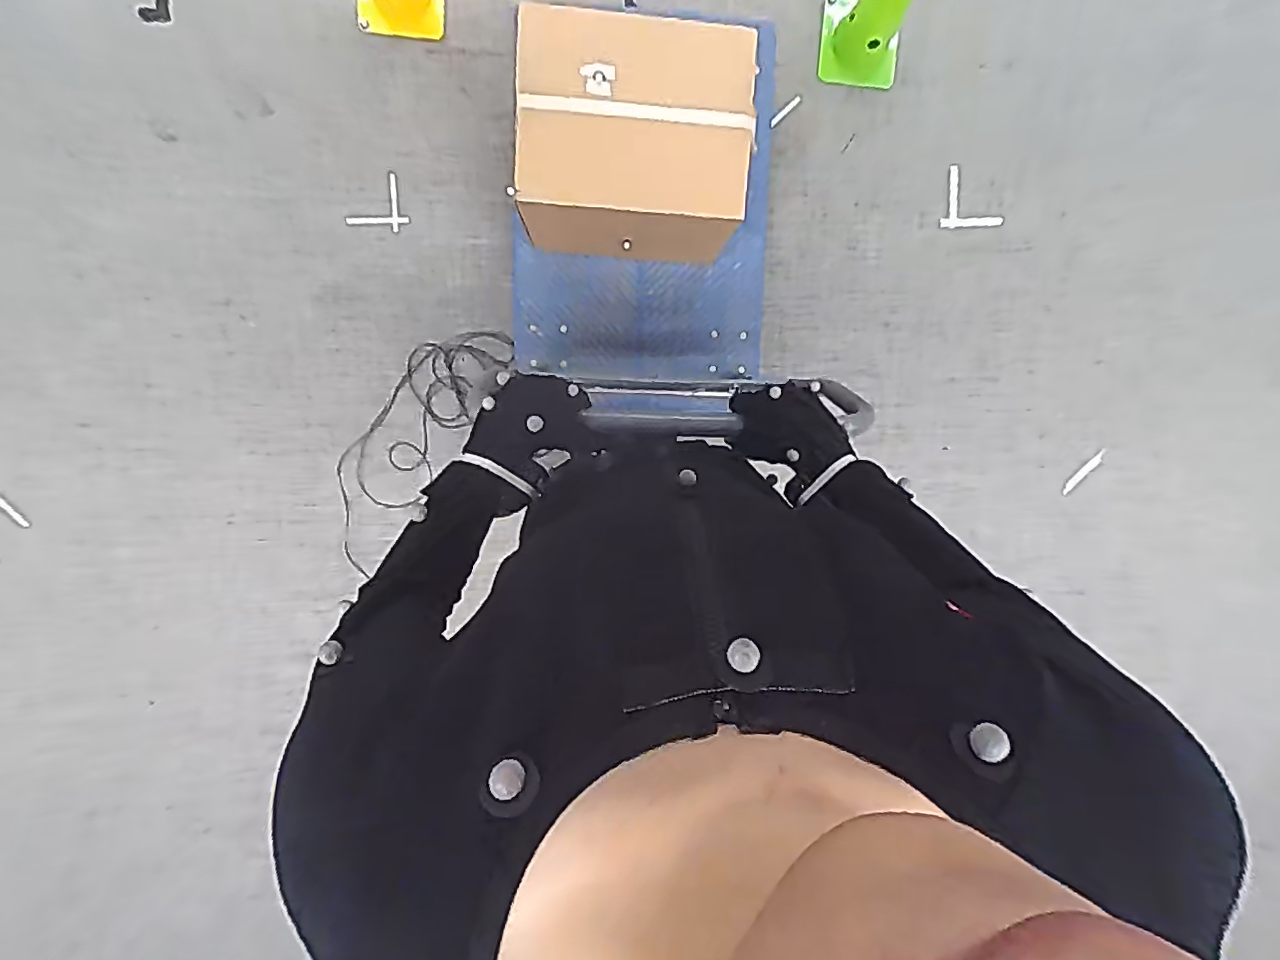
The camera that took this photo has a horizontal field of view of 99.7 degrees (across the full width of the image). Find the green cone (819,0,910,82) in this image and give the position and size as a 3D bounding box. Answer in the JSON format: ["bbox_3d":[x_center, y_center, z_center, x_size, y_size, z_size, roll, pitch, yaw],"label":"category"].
[{"bbox_3d":[0.572,-1.105,1.203,0.202,0.368,0.200,3,97,-6],"label":"green cone"}]

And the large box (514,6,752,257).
[{"bbox_3d":[-0.019,-0.646,1.071,0.408,0.320,0.320,3,97,-4],"label":"large box"}]
